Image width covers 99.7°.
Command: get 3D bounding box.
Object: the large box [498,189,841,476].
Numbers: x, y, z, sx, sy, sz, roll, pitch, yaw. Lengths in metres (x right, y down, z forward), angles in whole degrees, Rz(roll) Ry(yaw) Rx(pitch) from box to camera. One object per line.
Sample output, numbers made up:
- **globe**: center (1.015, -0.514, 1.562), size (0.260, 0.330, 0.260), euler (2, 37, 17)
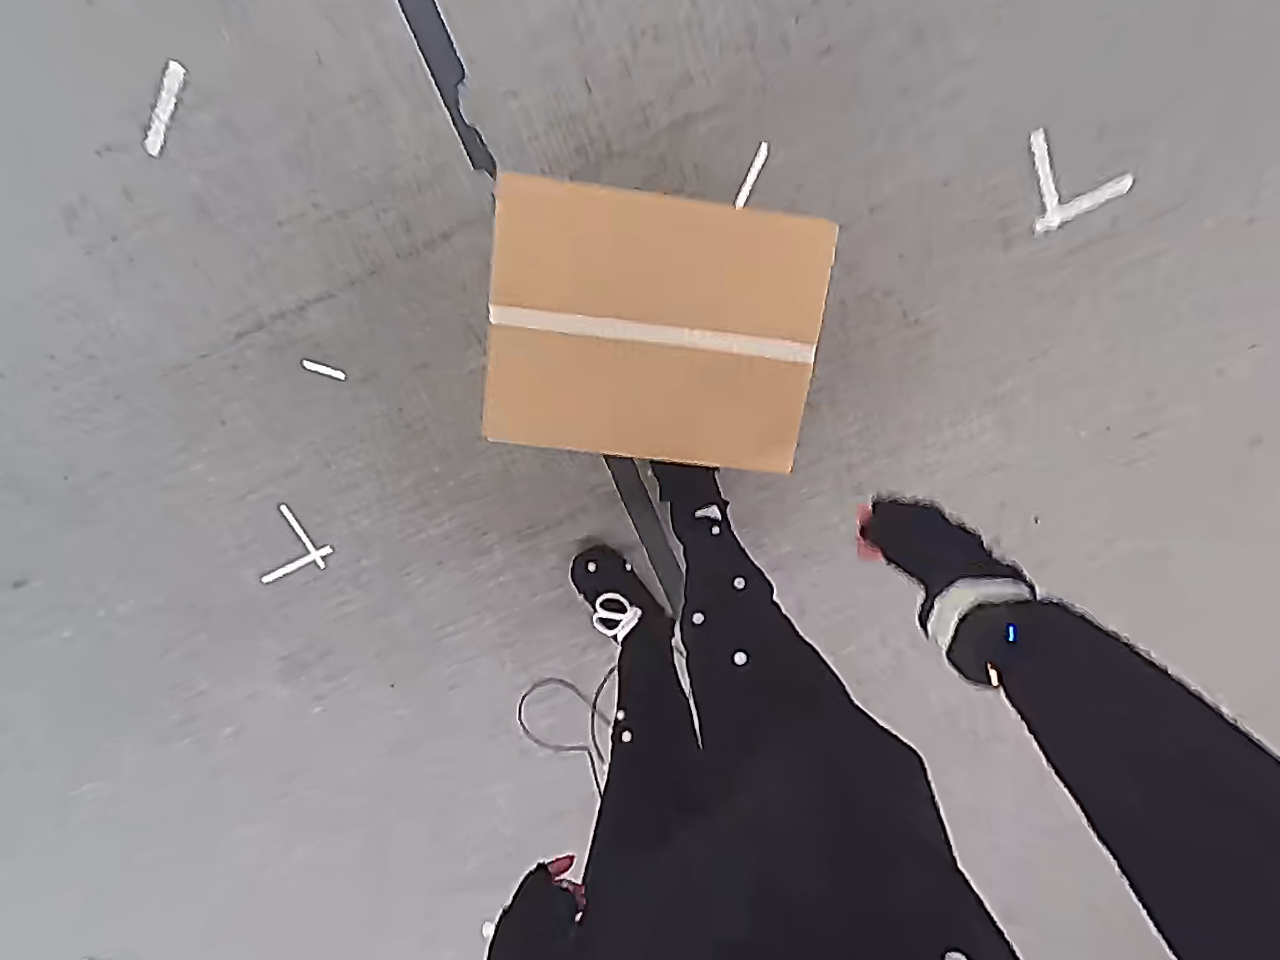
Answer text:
- **large box**: center (0.021, -0.207, 0.812), size (0.408, 0.320, 0.320), euler (6, 105, -4)
